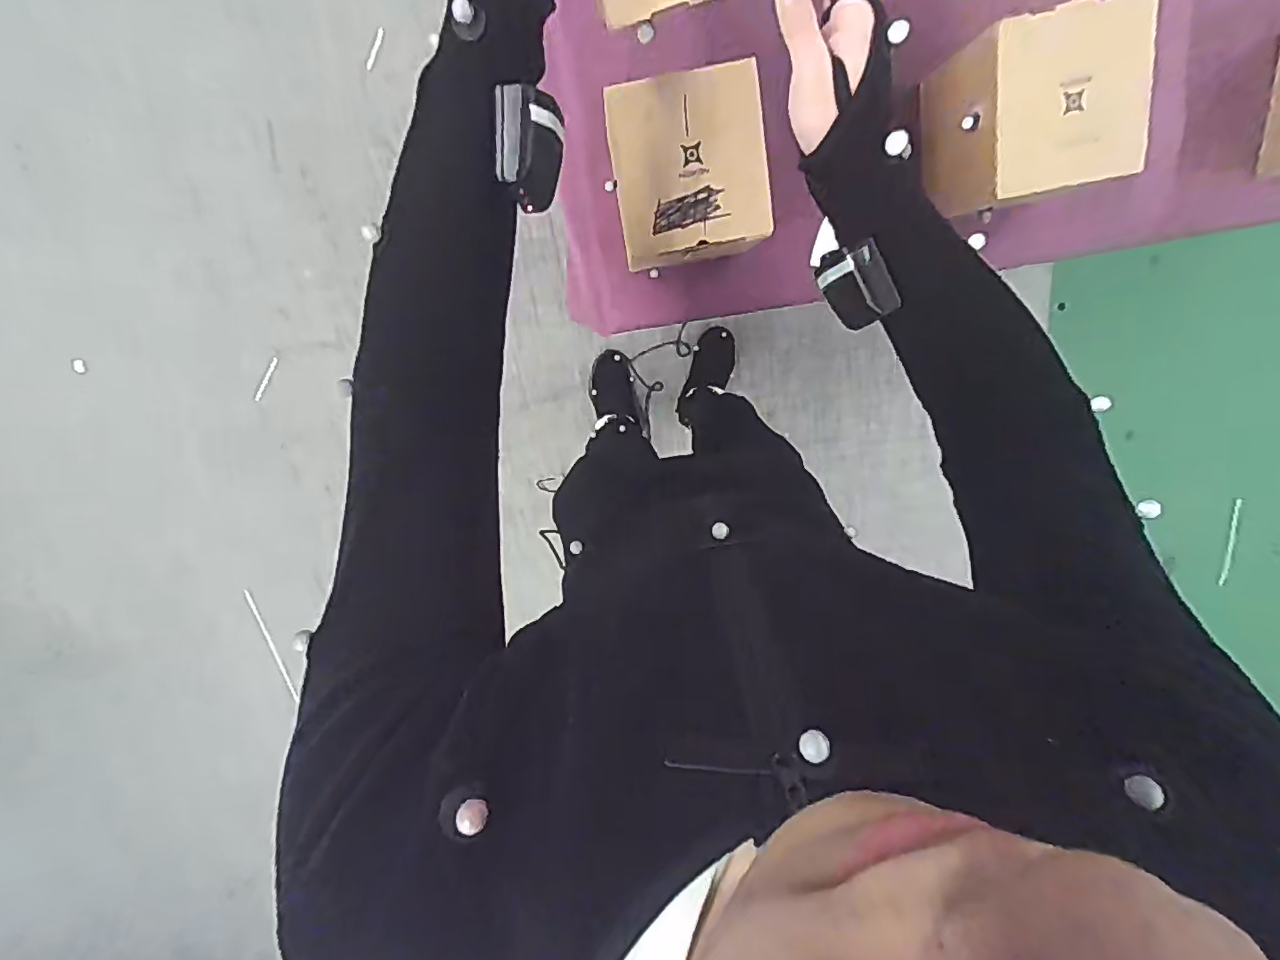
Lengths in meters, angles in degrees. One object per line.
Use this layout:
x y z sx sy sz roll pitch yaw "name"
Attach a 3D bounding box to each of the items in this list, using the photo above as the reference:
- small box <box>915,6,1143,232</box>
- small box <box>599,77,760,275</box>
0.460 -0.425 0.669 0.168 0.176 0.179 -9 107 4 "small box"
0.048 -0.363 0.684 0.168 0.176 0.179 -9 106 2 "small box"
